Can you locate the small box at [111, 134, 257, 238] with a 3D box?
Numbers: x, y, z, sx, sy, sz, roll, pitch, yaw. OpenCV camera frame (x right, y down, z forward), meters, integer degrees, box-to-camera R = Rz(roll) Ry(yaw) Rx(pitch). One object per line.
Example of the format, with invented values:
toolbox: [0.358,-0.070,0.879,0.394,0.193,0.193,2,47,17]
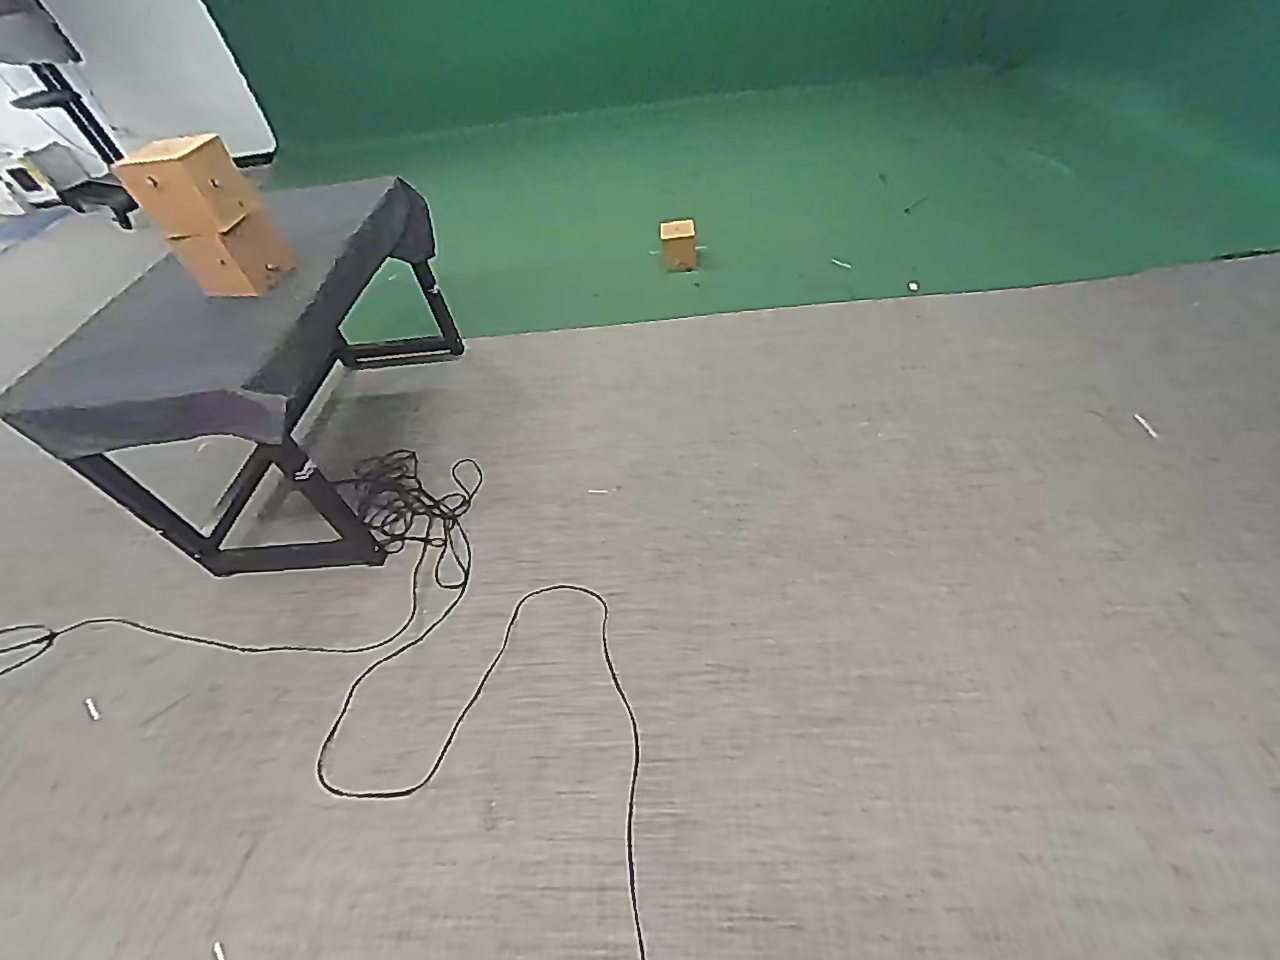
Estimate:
small box: [-1.094,-0.714,1.319,0.179,0.176,0.168,-2,49,7]

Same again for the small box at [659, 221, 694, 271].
small box: [0.187,-1.183,2.737,0.168,0.176,0.179,-5,49,5]
